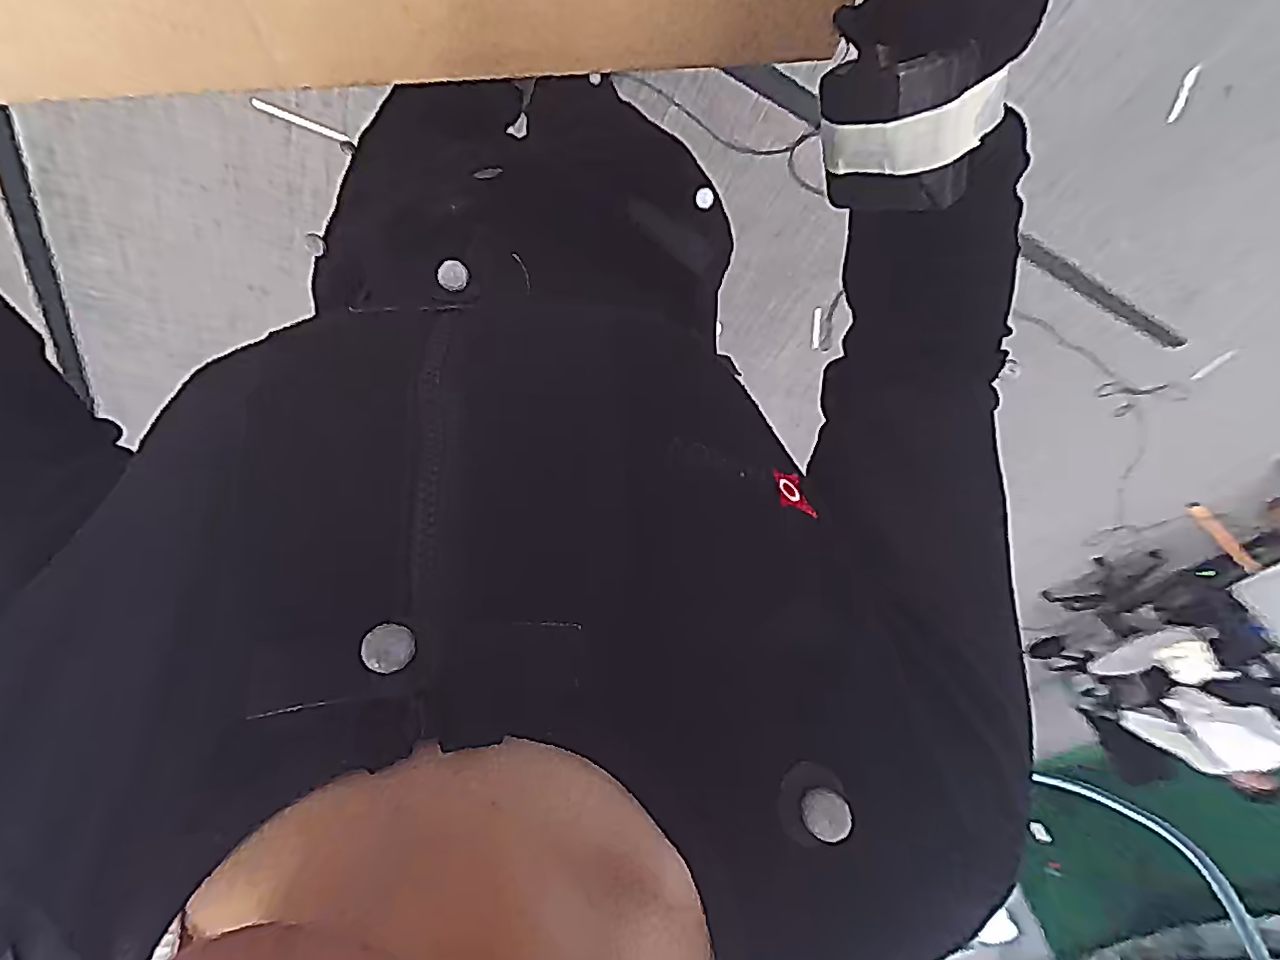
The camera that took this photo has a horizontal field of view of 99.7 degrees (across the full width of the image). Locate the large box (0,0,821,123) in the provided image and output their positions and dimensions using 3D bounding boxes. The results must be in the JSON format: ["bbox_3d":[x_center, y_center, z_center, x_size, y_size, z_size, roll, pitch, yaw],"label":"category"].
[{"bbox_3d":[-0.134,-0.364,0.144,0.408,0.320,0.320,-9,160,-6],"label":"large box"}]
